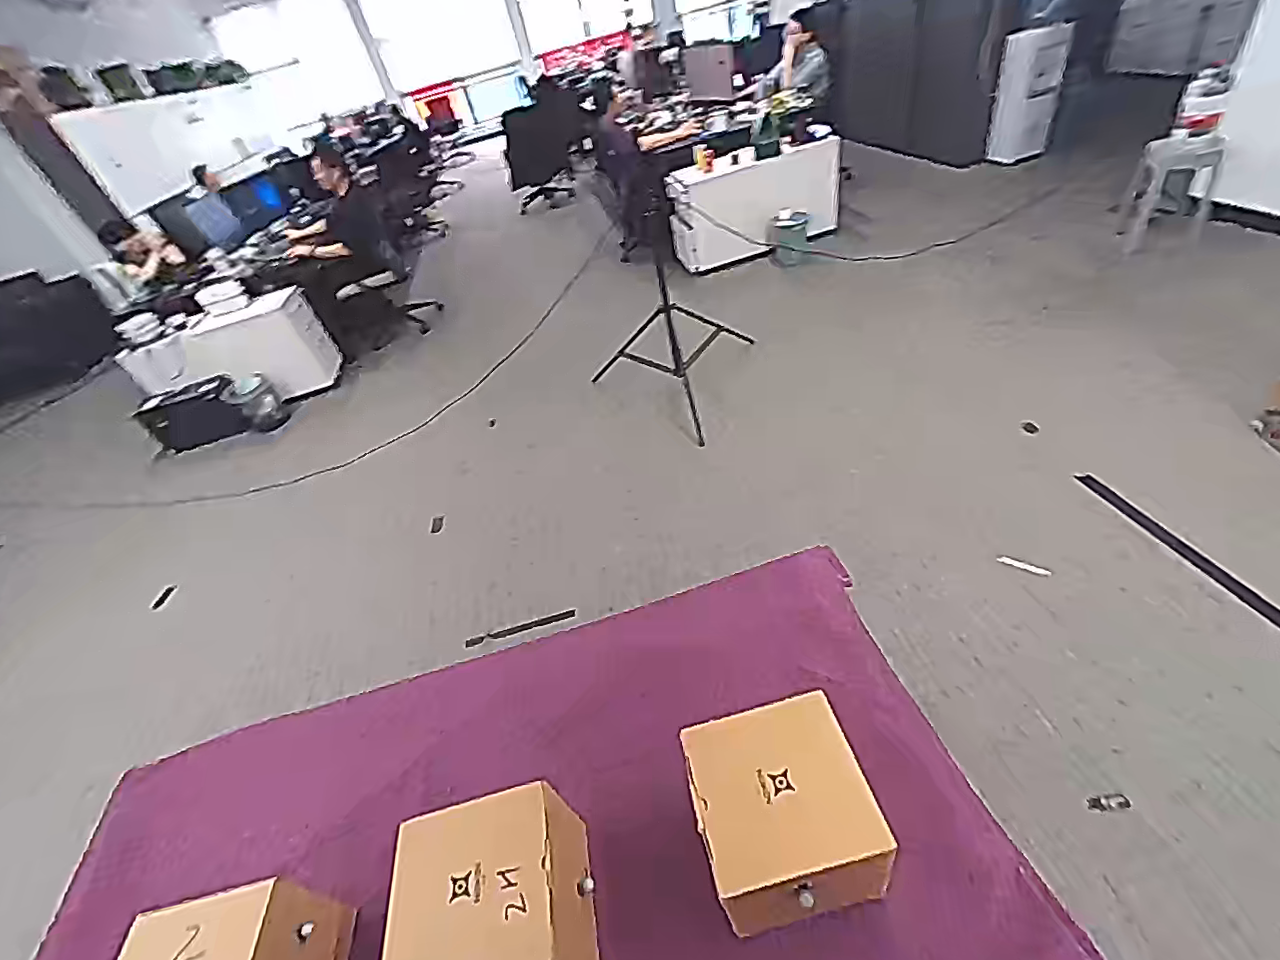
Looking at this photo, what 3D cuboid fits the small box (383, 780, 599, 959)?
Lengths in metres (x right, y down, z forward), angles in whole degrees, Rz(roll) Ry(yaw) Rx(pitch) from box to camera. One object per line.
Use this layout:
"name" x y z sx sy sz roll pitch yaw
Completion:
"small box" -0.158 0.476 0.608 0.179 0.176 0.168 -16 41 0

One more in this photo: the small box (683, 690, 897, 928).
"small box" 0.162 0.375 0.616 0.179 0.176 0.168 -17 39 1
